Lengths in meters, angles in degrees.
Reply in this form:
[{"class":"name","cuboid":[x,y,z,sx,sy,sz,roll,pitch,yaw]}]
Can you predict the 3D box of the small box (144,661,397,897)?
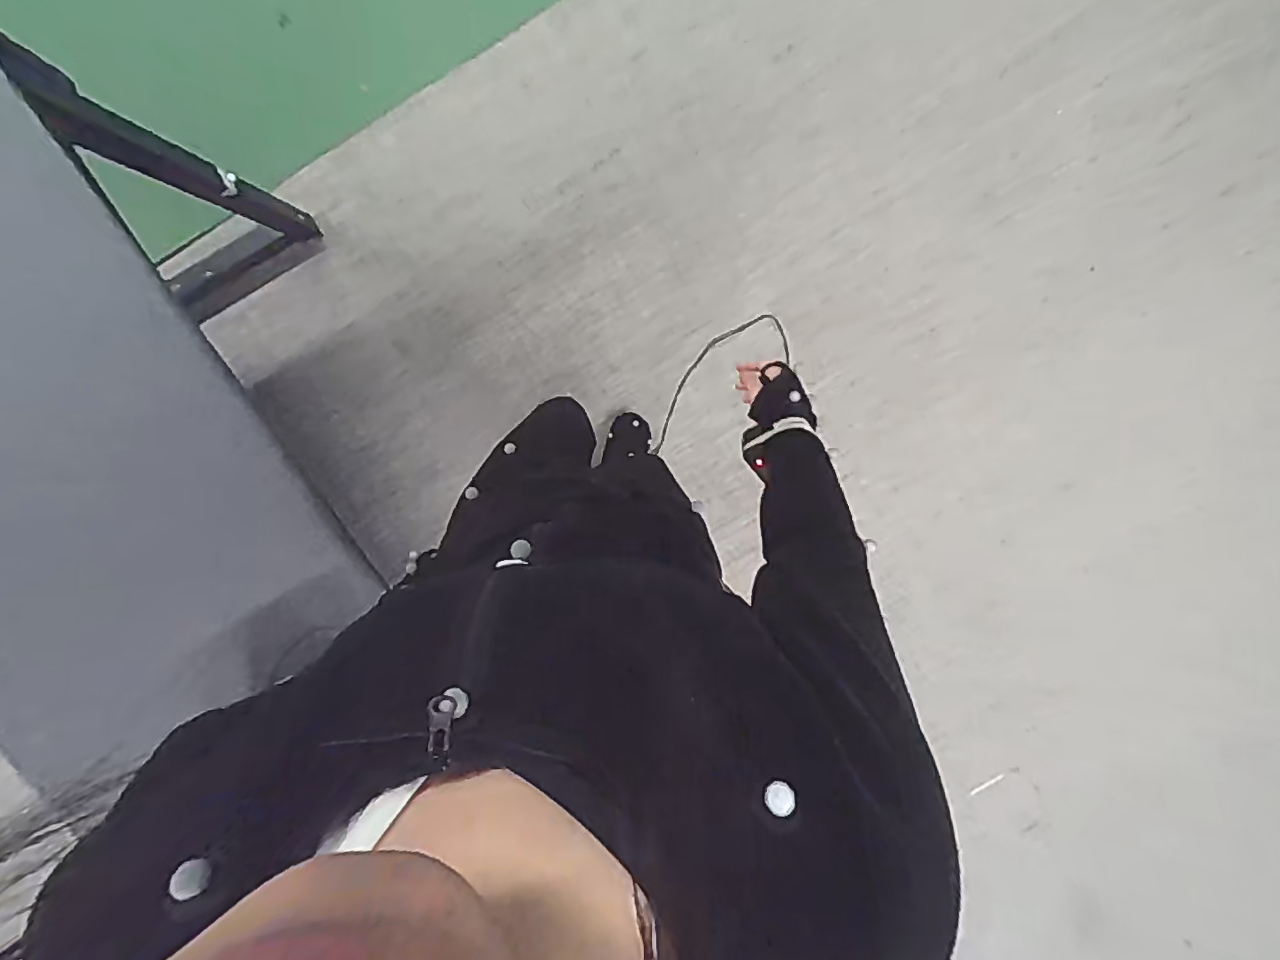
[{"class":"small box","cuboid":[-0.458,0.373,0.703,0.179,0.176,0.168,-27,101,1]}]
